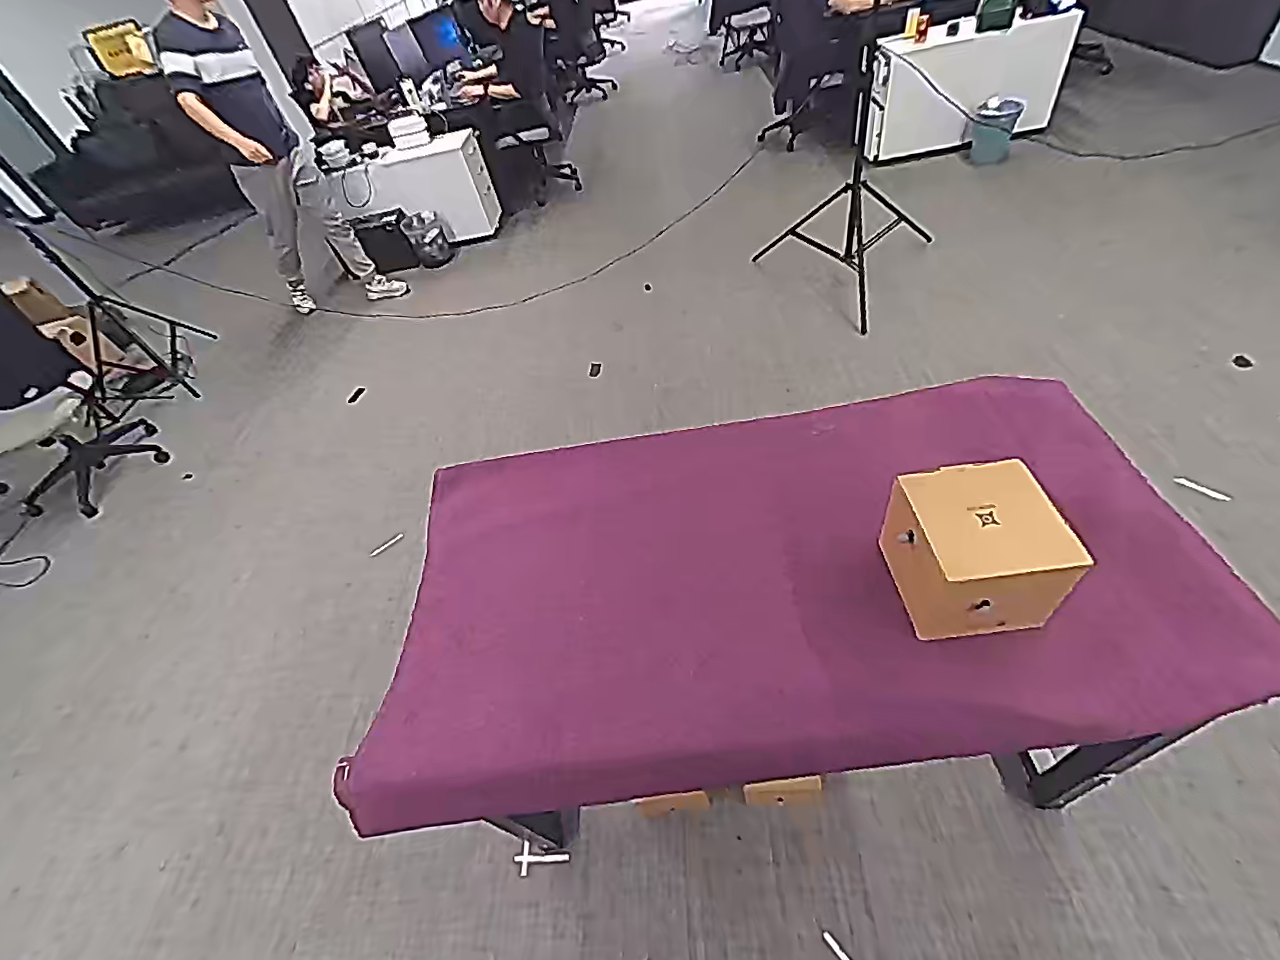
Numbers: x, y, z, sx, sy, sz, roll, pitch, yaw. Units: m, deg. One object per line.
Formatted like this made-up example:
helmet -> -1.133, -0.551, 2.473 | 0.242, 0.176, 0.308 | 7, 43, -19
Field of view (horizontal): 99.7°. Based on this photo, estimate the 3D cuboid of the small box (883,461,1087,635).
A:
small box -> 0.457, 0.102, 0.754 | 0.168, 0.176, 0.179 | -9, 47, 6

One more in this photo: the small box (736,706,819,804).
small box -> 0.322, 0.657, 1.282 | 0.168, 0.176, 0.179 | -6, 47, 8
